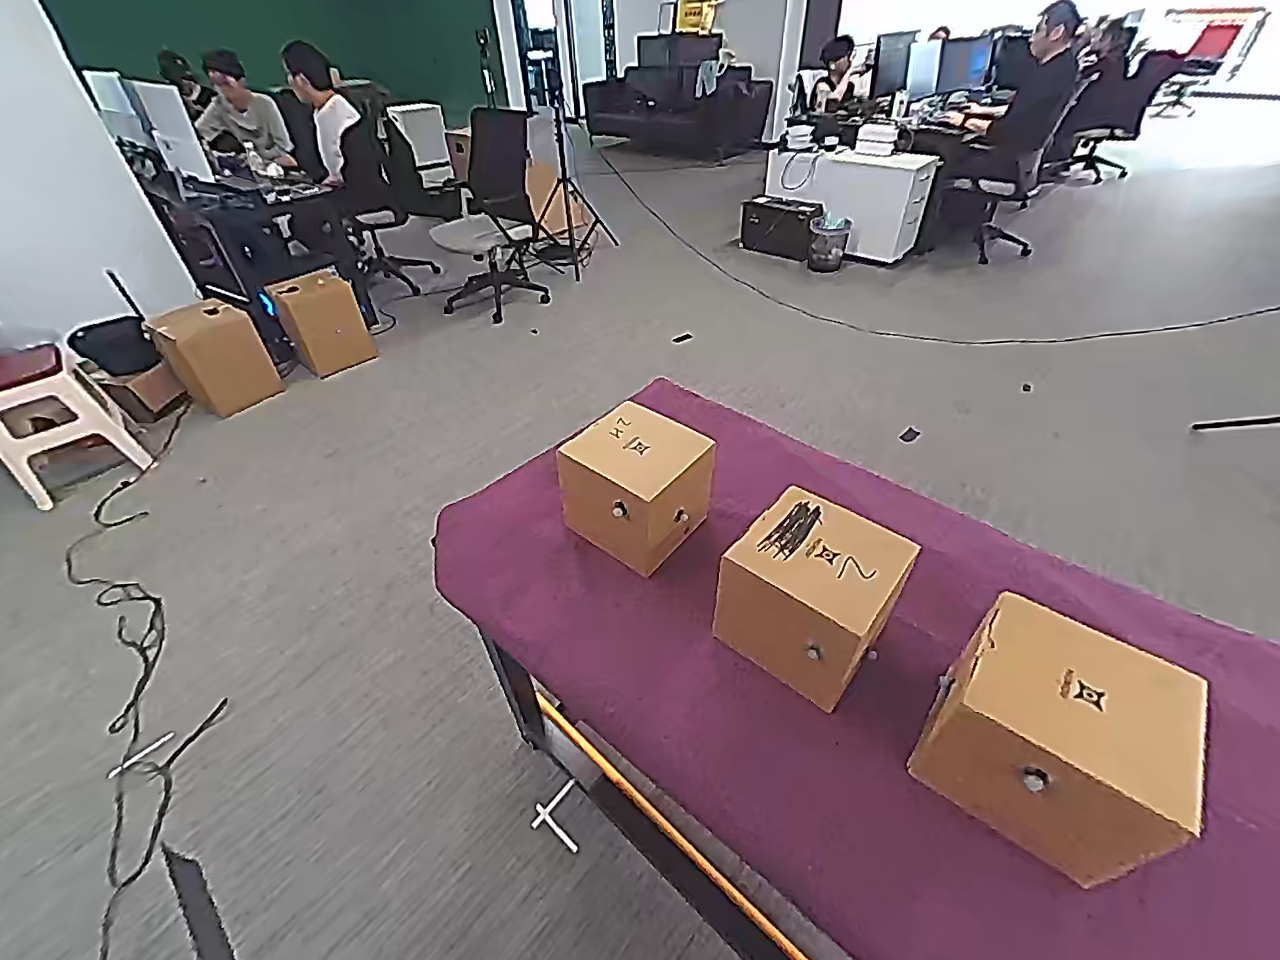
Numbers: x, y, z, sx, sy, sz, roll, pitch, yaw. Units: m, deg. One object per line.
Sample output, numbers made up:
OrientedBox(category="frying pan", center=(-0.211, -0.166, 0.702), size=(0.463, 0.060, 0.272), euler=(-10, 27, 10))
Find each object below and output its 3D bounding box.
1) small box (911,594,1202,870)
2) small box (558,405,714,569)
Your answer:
OrientedBox(category="small box", center=(0.415, 0.260, 0.560), size=(0.179, 0.176, 0.168), euler=(27, 49, 30))
OrientedBox(category="small box", center=(-0.005, 0.015, 0.856), size=(0.179, 0.176, 0.168), euler=(29, 49, 28))
